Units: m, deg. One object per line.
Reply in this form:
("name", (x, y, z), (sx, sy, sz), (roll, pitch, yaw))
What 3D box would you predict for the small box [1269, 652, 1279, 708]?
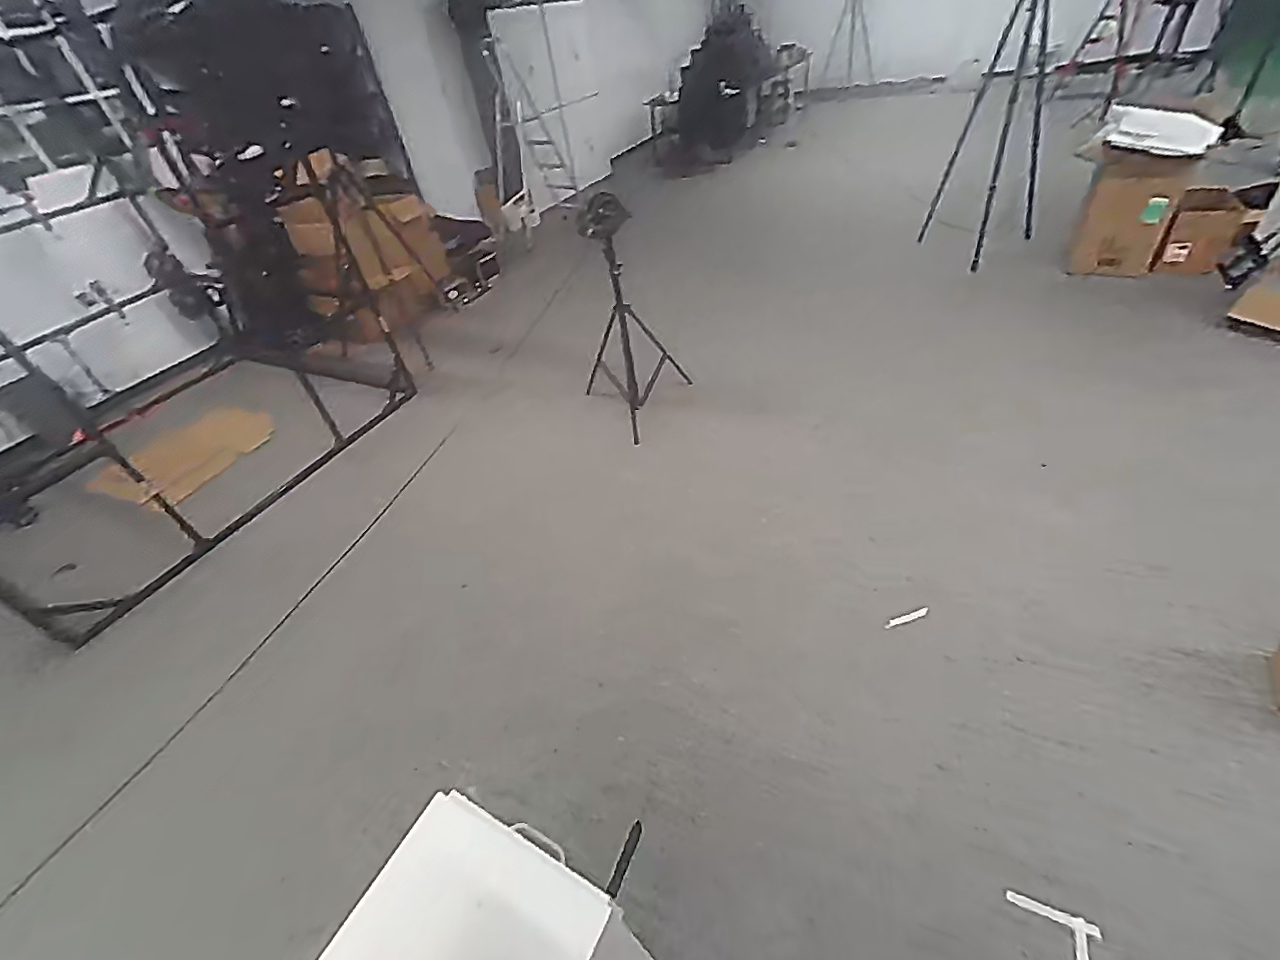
("small box", (1.811, 0.529, 1.412), (0.168, 0.176, 0.179), (17, 48, 30))
